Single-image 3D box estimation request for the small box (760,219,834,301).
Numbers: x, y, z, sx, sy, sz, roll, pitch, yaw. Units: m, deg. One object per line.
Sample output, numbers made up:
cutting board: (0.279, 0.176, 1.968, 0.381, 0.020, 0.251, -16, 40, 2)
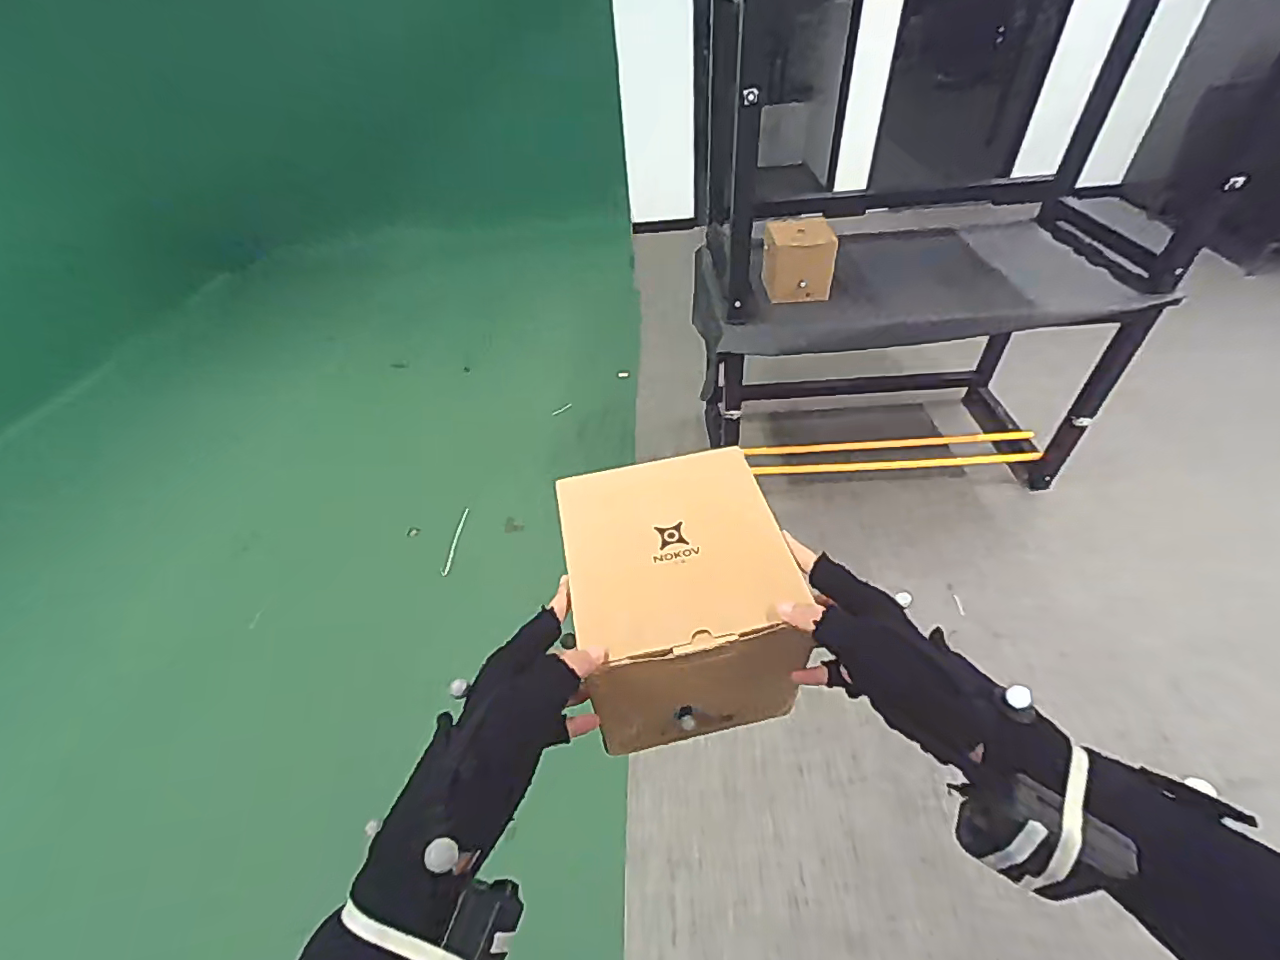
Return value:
small box: (0.447, -0.639, 1.570, 0.168, 0.176, 0.179, -4, 44, 3)
